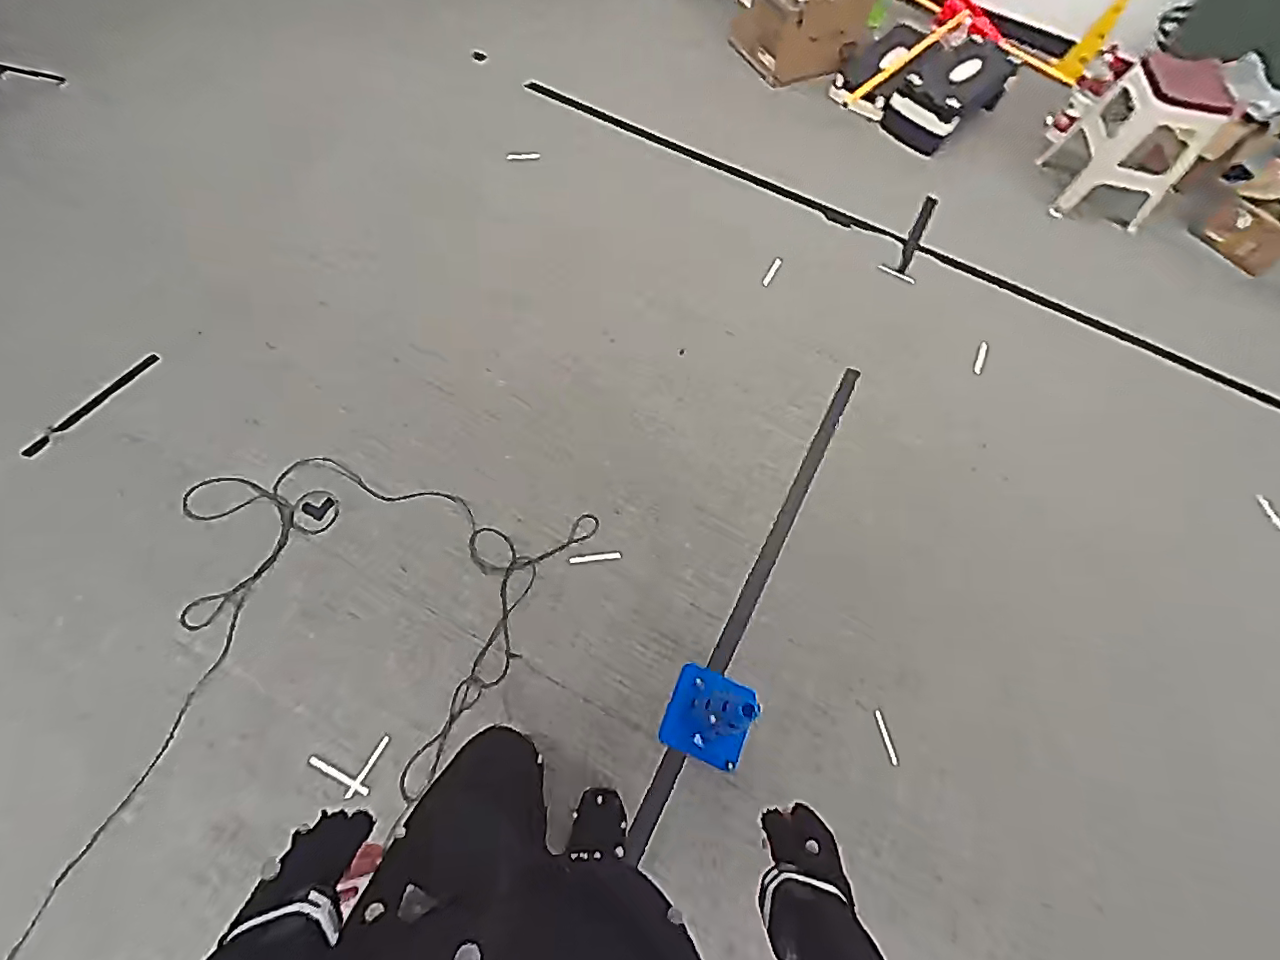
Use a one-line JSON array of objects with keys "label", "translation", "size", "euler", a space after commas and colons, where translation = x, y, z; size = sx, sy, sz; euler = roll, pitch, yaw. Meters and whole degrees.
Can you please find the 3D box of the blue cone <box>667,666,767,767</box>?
[{"label": "blue cone", "translation": [0.190, 0.507, 1.175], "size": [0.192, 0.380, 0.193], "euler": [26, 65, 5]}]
